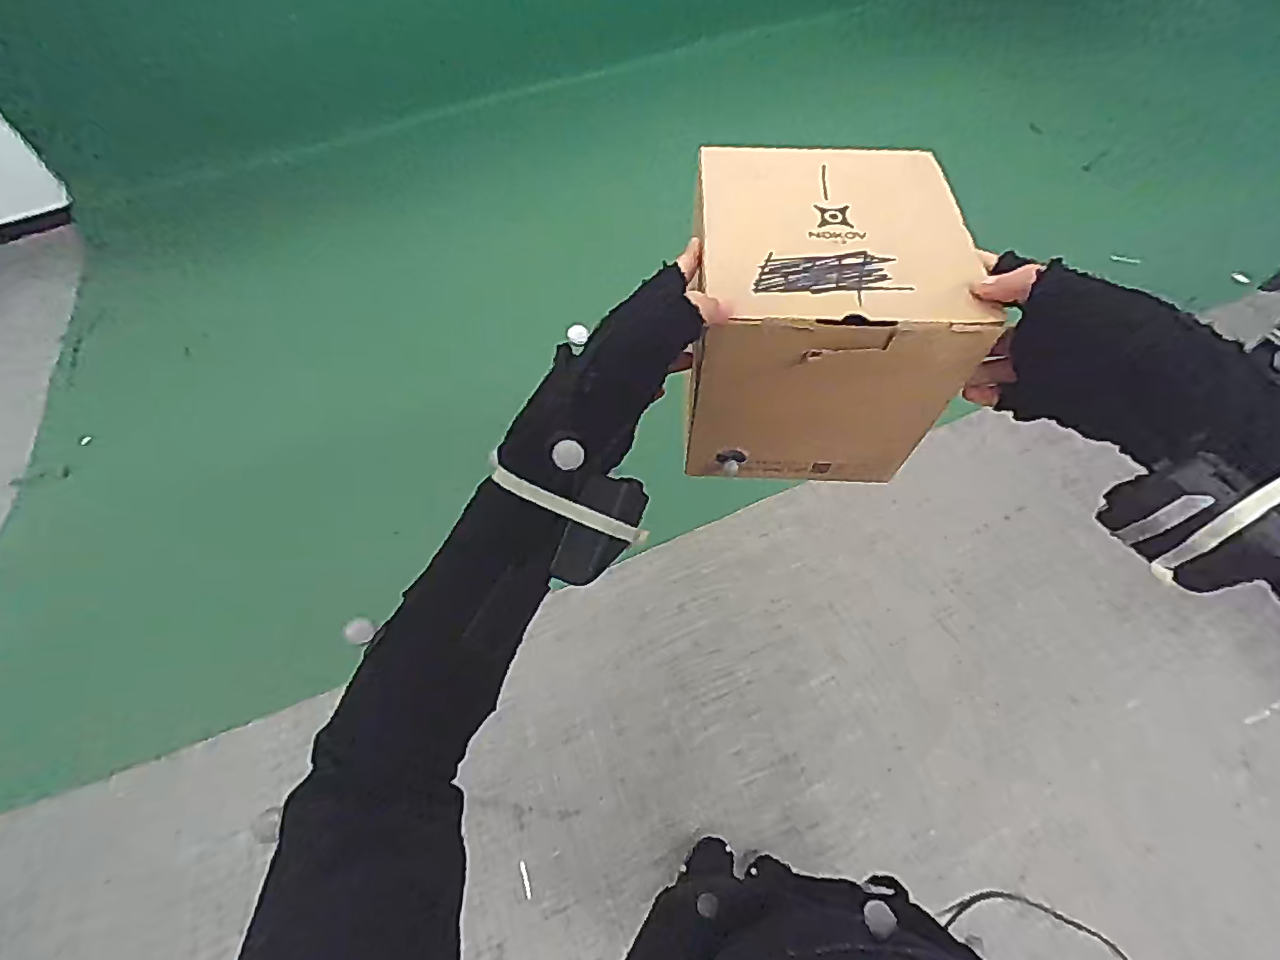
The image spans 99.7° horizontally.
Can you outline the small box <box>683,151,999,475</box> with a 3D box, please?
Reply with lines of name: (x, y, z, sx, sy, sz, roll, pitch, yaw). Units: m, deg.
small box: (0.122, -0.117, 0.410, 0.168, 0.176, 0.179, 2, 59, 1)
